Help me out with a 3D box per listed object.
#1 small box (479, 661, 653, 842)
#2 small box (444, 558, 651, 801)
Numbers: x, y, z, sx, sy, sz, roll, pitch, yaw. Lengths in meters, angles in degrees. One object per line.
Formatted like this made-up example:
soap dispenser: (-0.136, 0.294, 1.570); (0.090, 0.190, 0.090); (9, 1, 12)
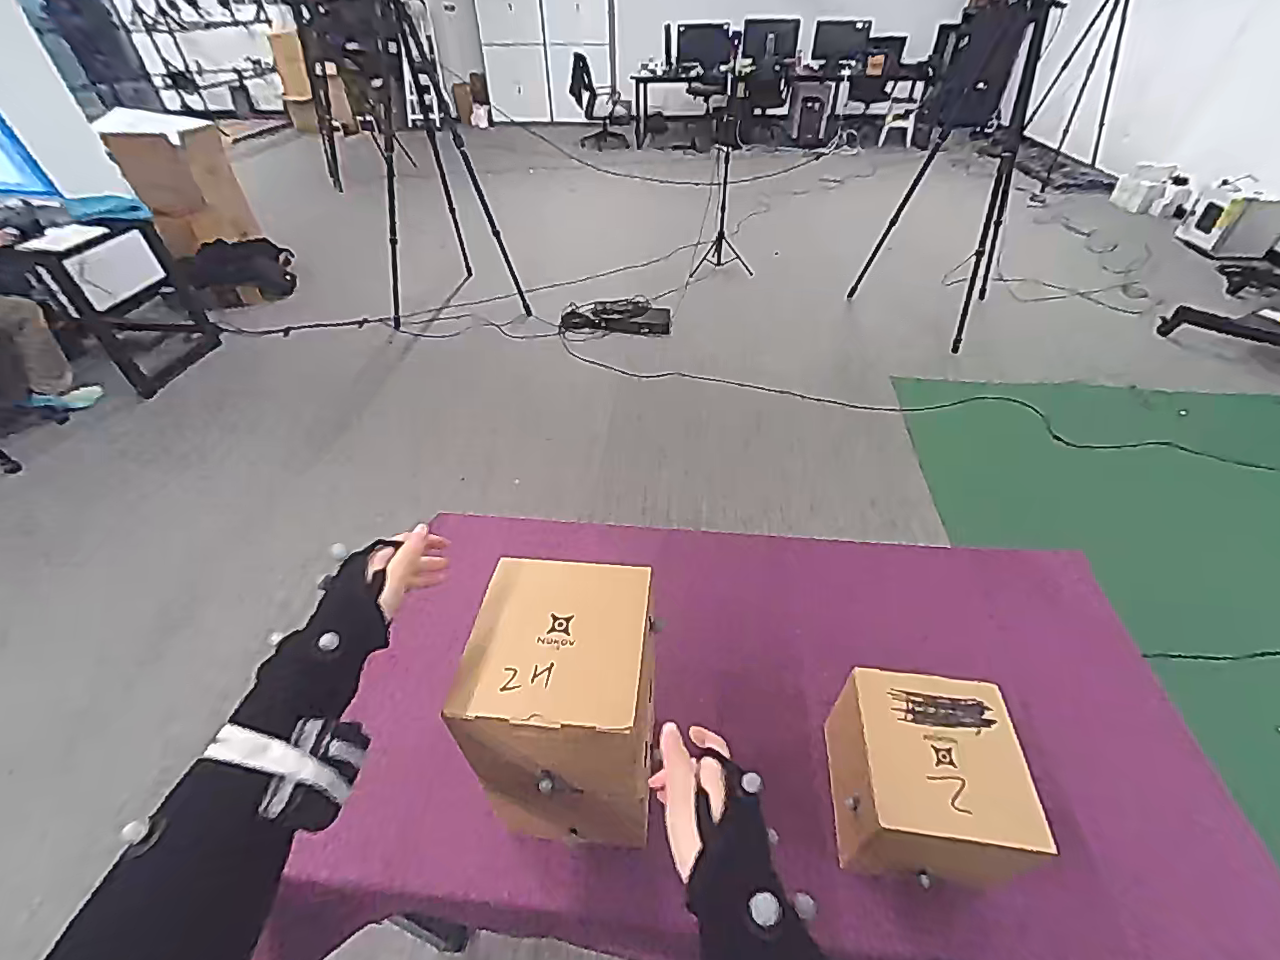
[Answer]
small box: (-0.079, 0.333, 0.677); (0.179, 0.176, 0.168); (3, 42, 3)
small box: (-0.079, 0.207, 0.569); (0.168, 0.176, 0.179); (3, 43, 5)
